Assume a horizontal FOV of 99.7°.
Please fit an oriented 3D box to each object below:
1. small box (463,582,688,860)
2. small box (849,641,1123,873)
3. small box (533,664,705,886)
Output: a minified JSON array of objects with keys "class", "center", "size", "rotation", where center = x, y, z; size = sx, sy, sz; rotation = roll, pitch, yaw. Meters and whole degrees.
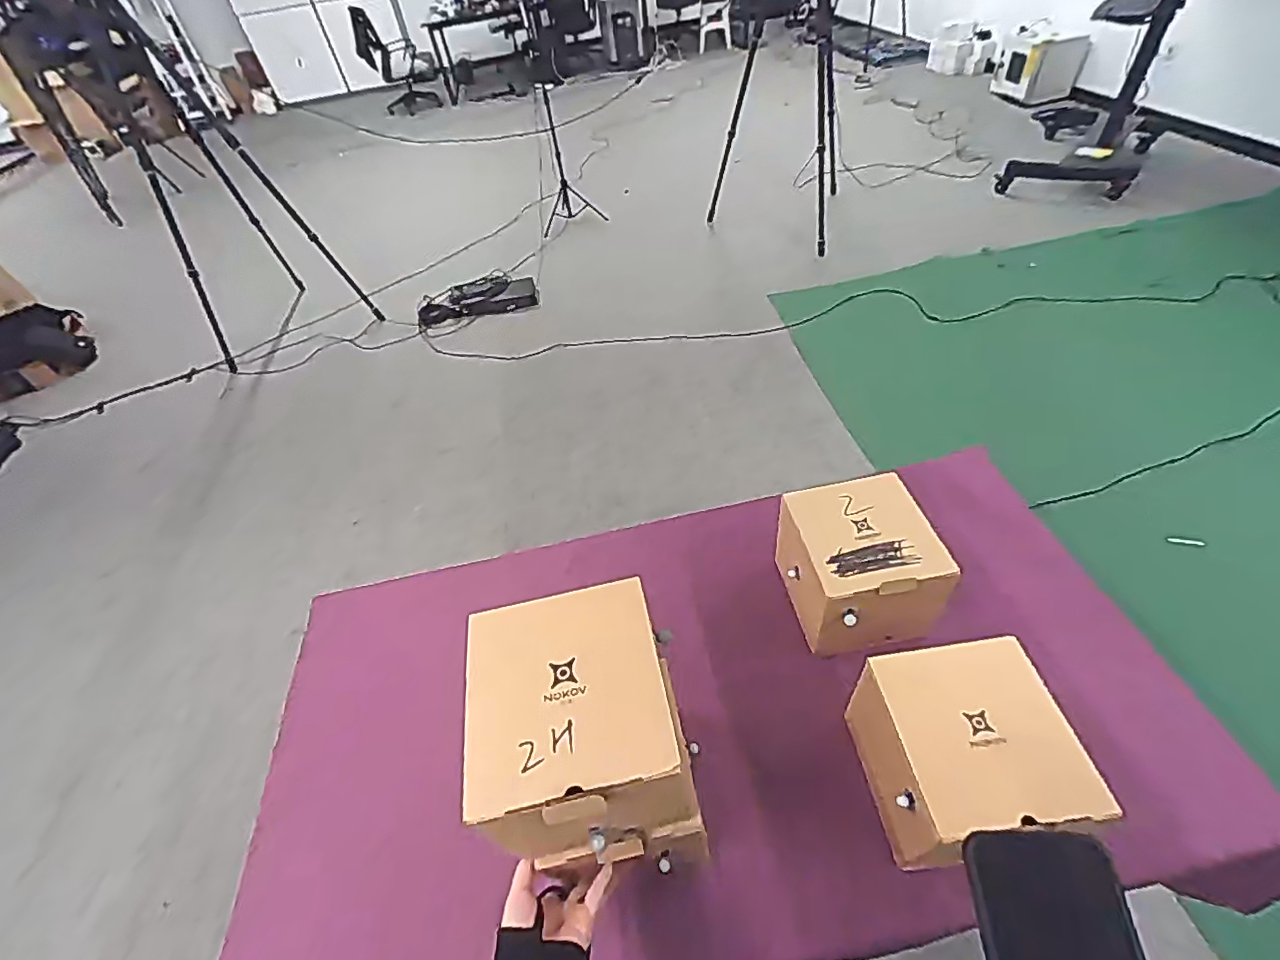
[{"class":"small box","center":[-0.056,0.228,0.511],"size":[0.168,0.176,0.179],"rotation":[-13,48,-2]},{"class":"small box","center":[0.348,0.305,0.593],"size":[0.168,0.176,0.179],"rotation":[-9,47,1]},{"class":"small box","center":[-0.025,0.344,0.623],"size":[0.168,0.176,0.179],"rotation":[-12,46,-2]}]
